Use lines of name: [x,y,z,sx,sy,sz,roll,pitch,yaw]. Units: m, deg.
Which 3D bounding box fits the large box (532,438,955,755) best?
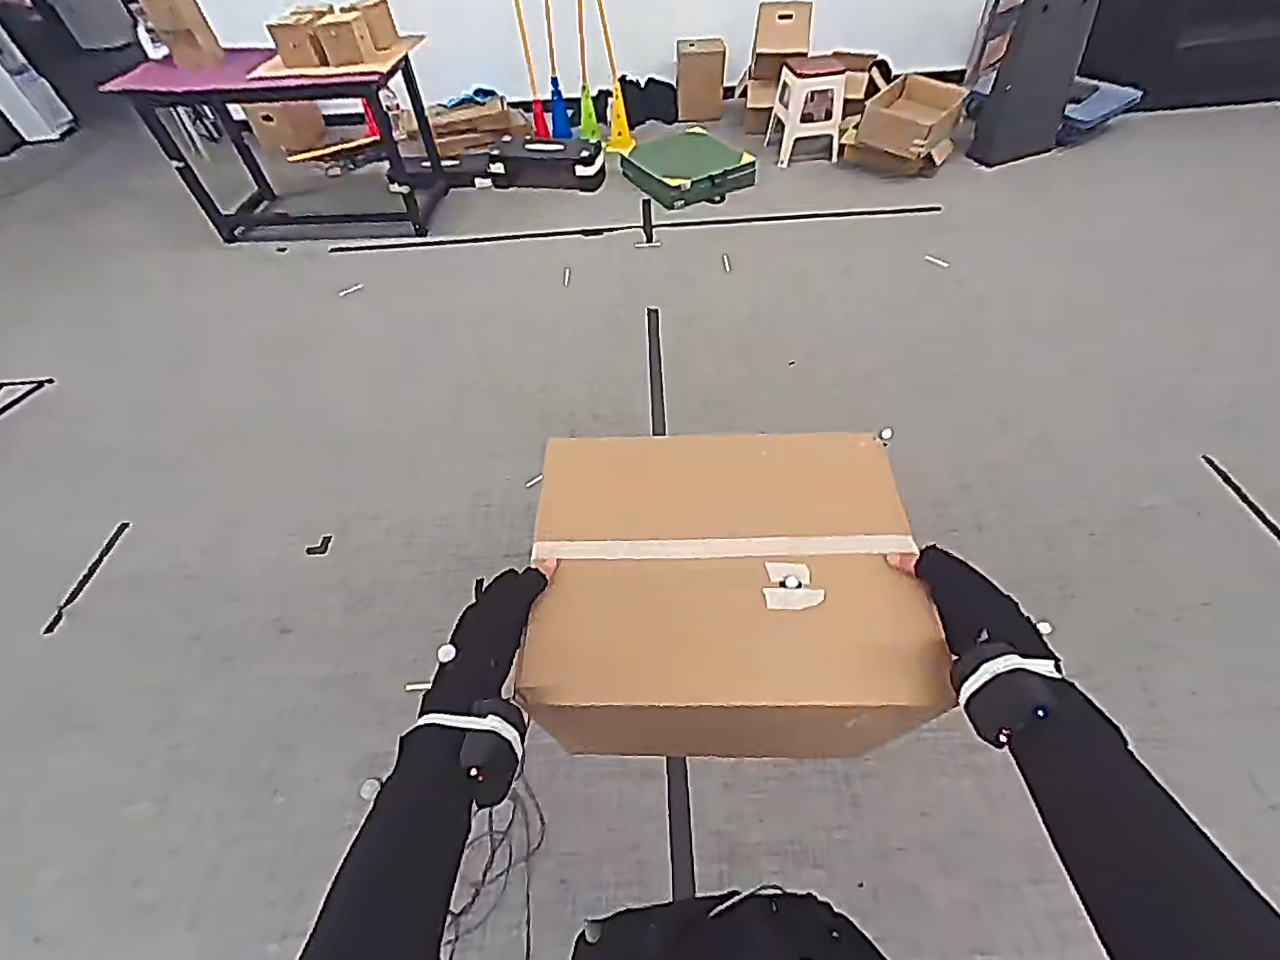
large box: [0.098,0.164,0.707,0.408,0.320,0.320,-1,56,2]
